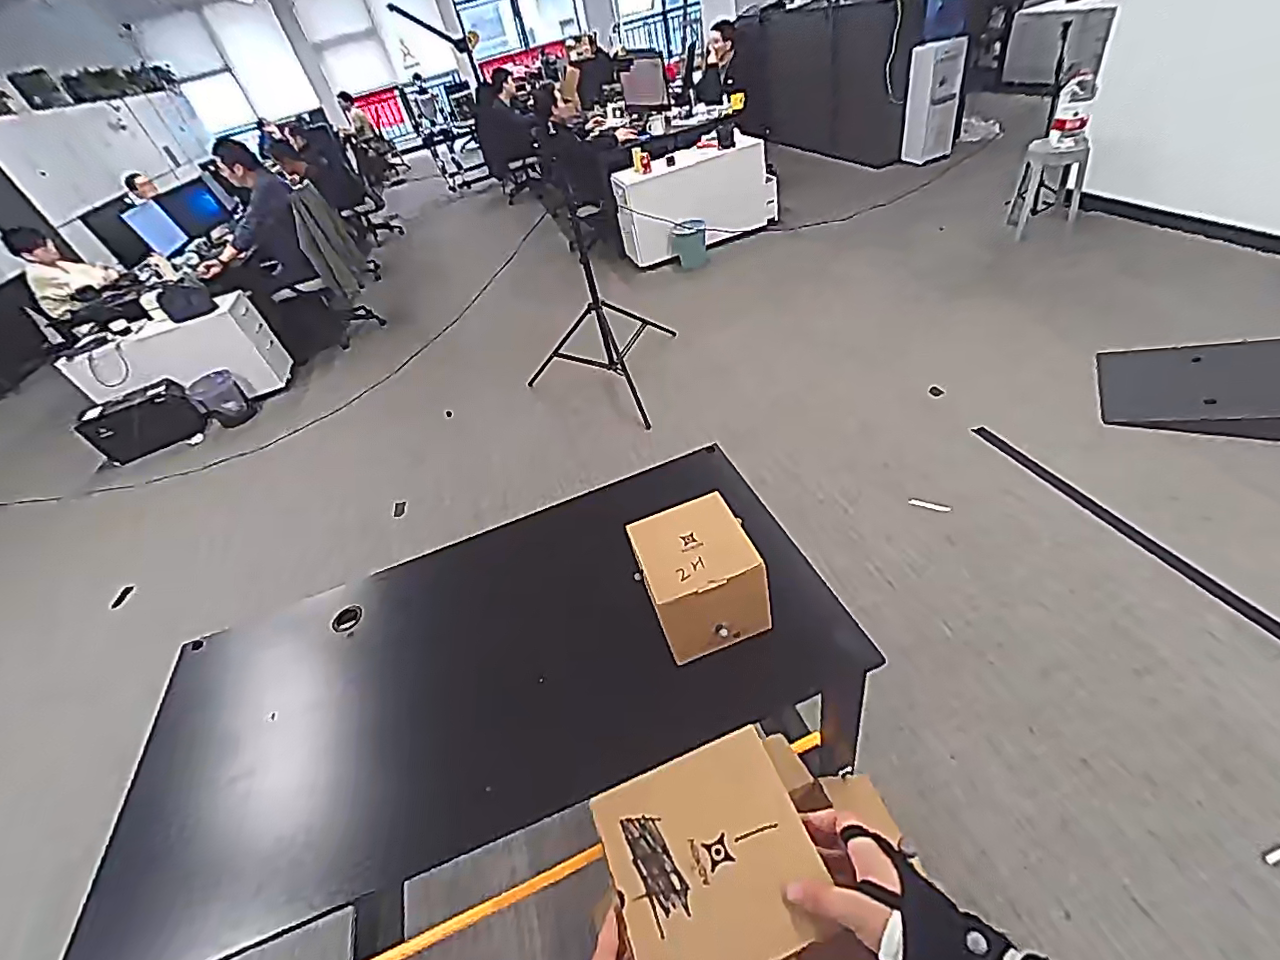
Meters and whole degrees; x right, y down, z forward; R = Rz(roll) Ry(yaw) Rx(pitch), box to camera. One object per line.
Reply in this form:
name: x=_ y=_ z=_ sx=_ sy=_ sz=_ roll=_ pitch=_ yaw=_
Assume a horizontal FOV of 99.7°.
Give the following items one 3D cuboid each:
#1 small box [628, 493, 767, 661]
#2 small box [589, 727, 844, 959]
small box: x=0.093 y=0.156 z=0.878 sx=0.168 sy=0.176 sz=0.179 roll=-20 pitch=41 yaw=-4
small box: x=0.070 y=0.378 z=0.525 sx=0.179 sy=0.176 sz=0.168 roll=-21 pitch=47 yaw=-7
